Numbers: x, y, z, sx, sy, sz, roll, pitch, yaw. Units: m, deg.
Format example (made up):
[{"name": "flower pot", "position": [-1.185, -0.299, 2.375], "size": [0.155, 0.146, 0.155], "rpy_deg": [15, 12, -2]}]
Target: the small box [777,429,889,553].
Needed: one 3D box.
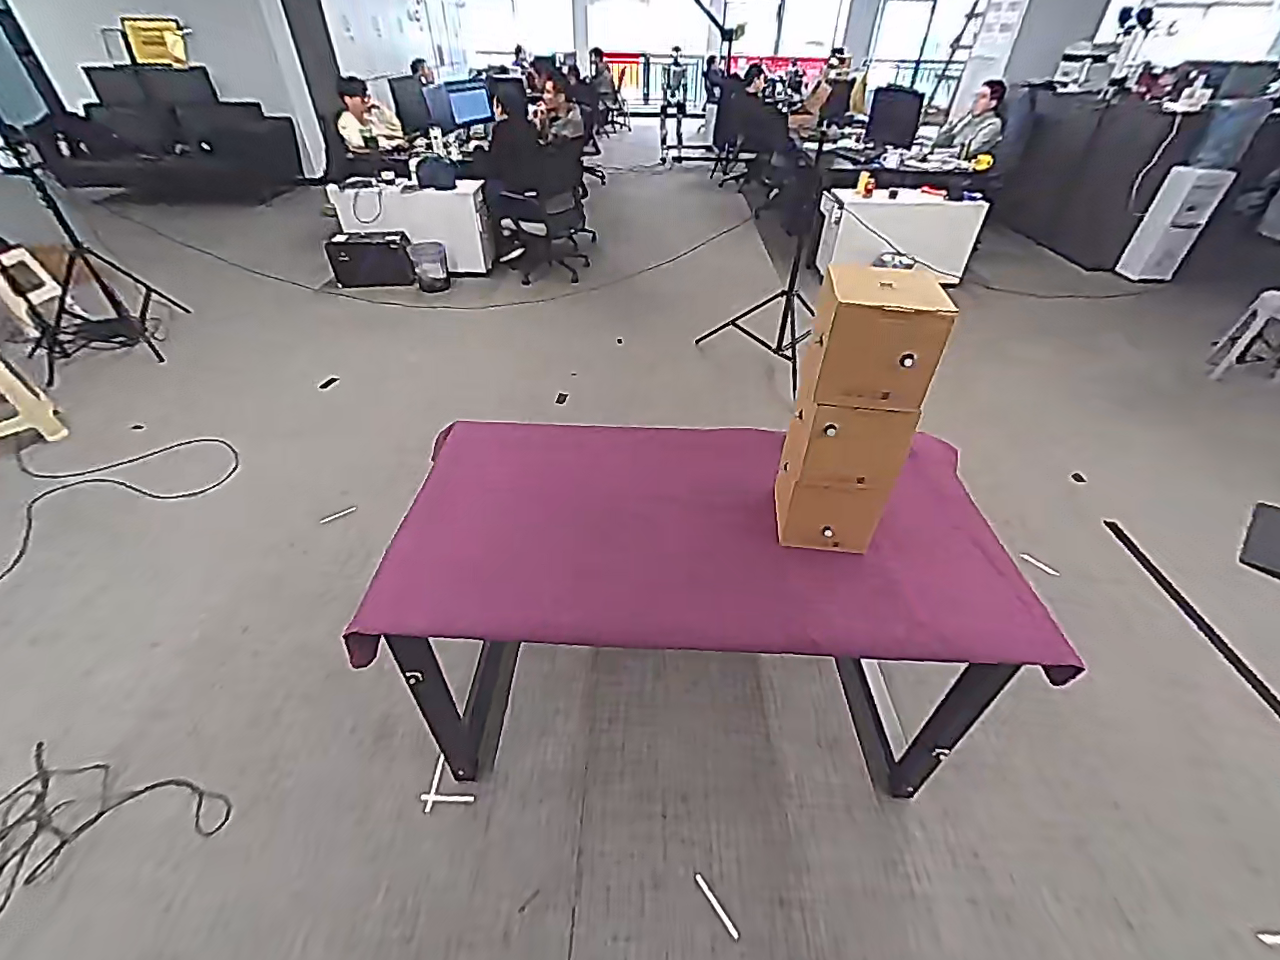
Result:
[{"name": "small box", "position": [0.372, 0.019, 1.078], "size": [0.168, 0.176, 0.179], "rpy_deg": [5, 40, 6]}]

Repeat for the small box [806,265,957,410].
[{"name": "small box", "position": [0.370, -0.228, 0.864], "size": [0.168, 0.176, 0.179], "rpy_deg": [7, 39, 6]}]
